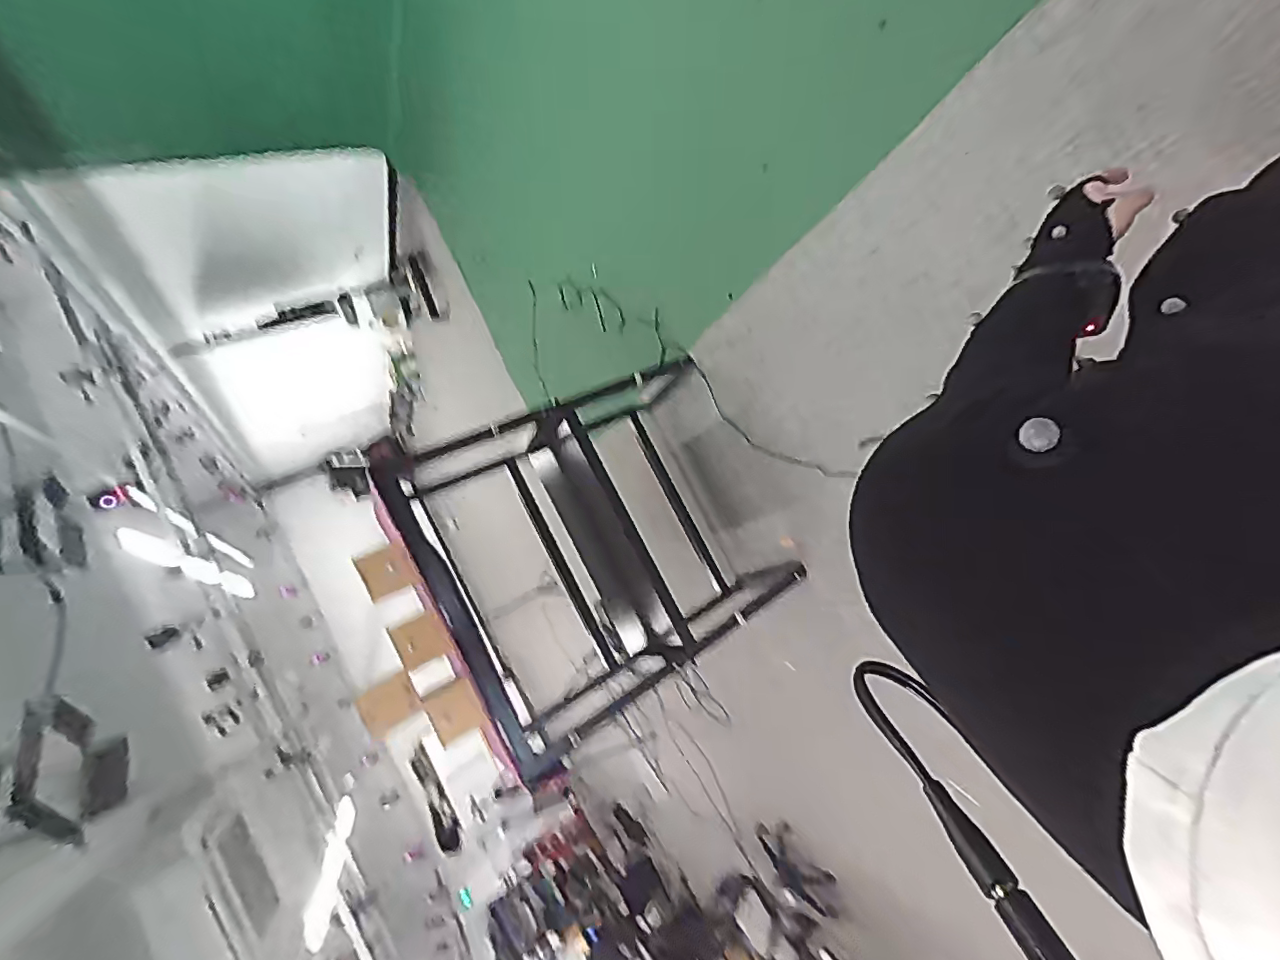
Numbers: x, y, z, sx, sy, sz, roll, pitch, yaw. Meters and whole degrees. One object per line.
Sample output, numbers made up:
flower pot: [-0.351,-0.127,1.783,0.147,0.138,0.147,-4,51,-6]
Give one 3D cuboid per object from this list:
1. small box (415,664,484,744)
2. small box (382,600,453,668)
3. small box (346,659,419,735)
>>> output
small box: [-0.645,0.751,1.830,0.168,0.176,0.179,-25,89,62]
small box: [-0.761,0.522,1.847,0.179,0.176,0.168,61,152,5]
small box: [-0.838,0.702,1.772,0.168,0.176,0.179,63,152,4]
